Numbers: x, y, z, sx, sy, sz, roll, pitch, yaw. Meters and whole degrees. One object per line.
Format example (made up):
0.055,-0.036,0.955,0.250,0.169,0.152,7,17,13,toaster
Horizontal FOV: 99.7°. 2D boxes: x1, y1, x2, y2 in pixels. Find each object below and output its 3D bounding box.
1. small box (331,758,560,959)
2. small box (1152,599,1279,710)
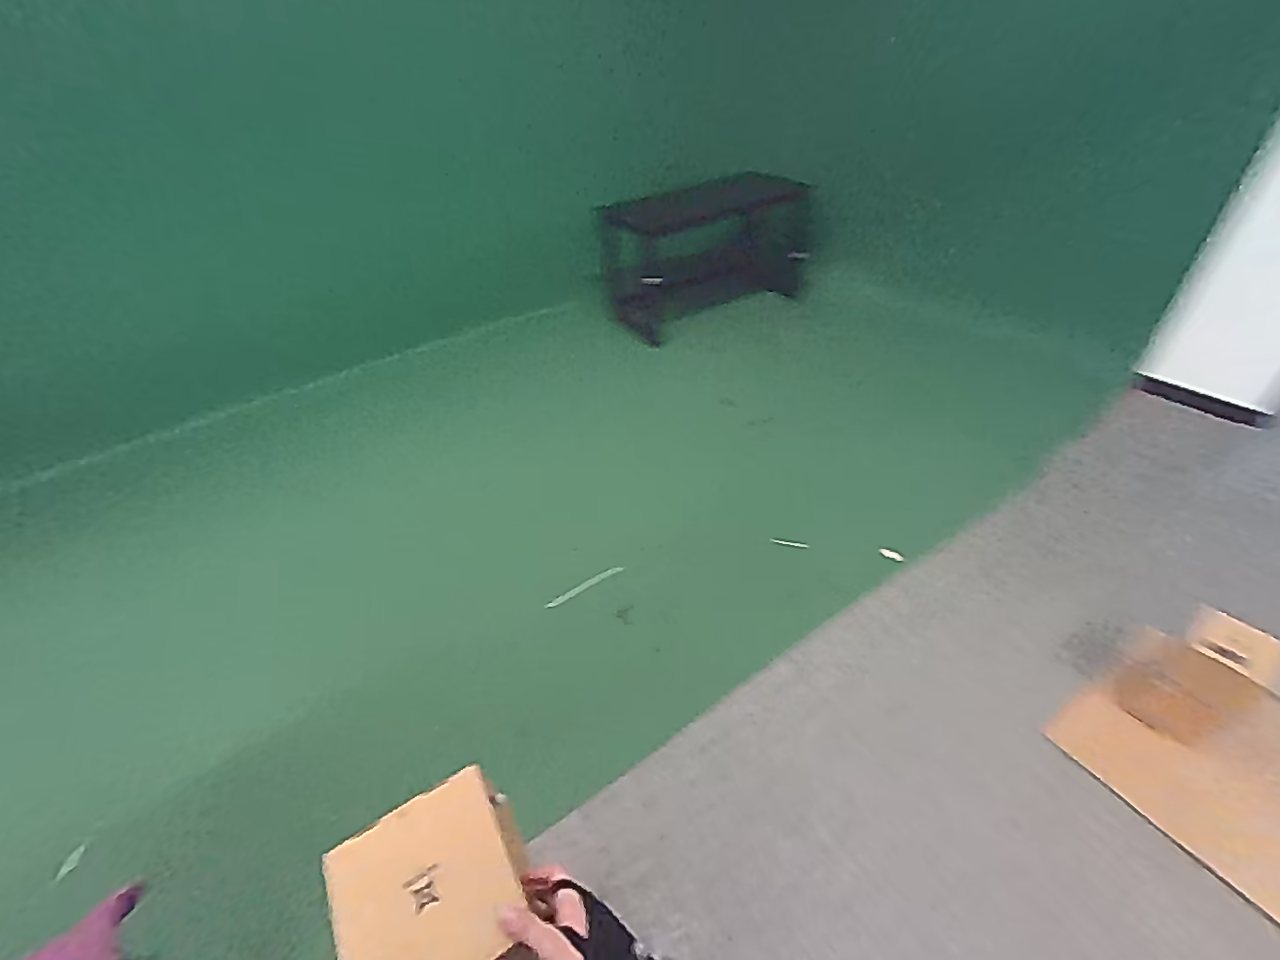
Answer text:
-0.202,0.452,0.591,0.168,0.176,0.179,-26,48,-19,small box
1.472,0.450,1.385,0.179,0.176,0.168,-29,45,-25,small box
